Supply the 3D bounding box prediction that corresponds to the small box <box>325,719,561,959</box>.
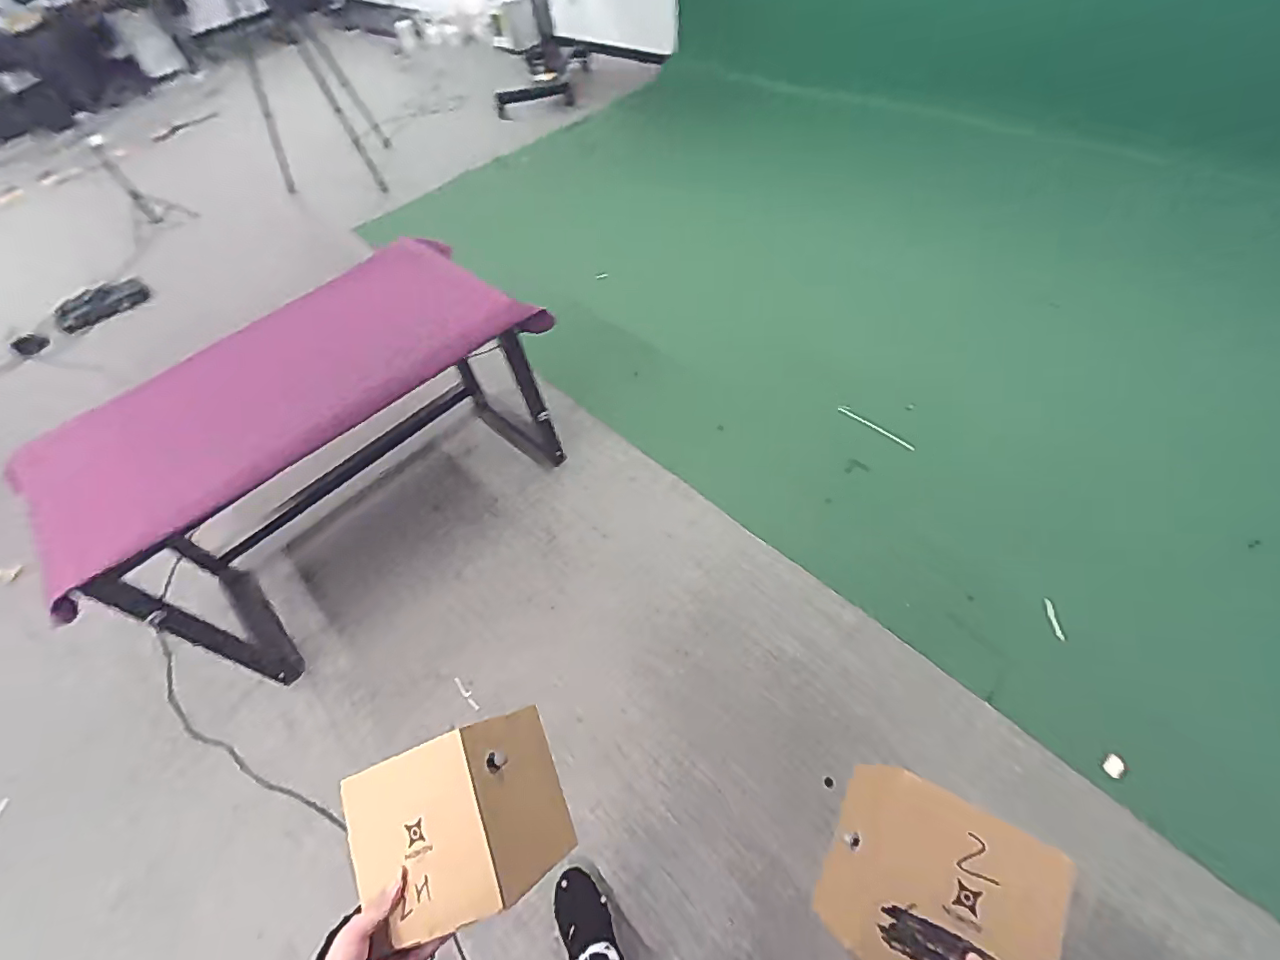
[{"bbox_3d":[-0.216,0.392,0.619,0.168,0.176,0.179,-27,69,10],"label":"small box"}]
